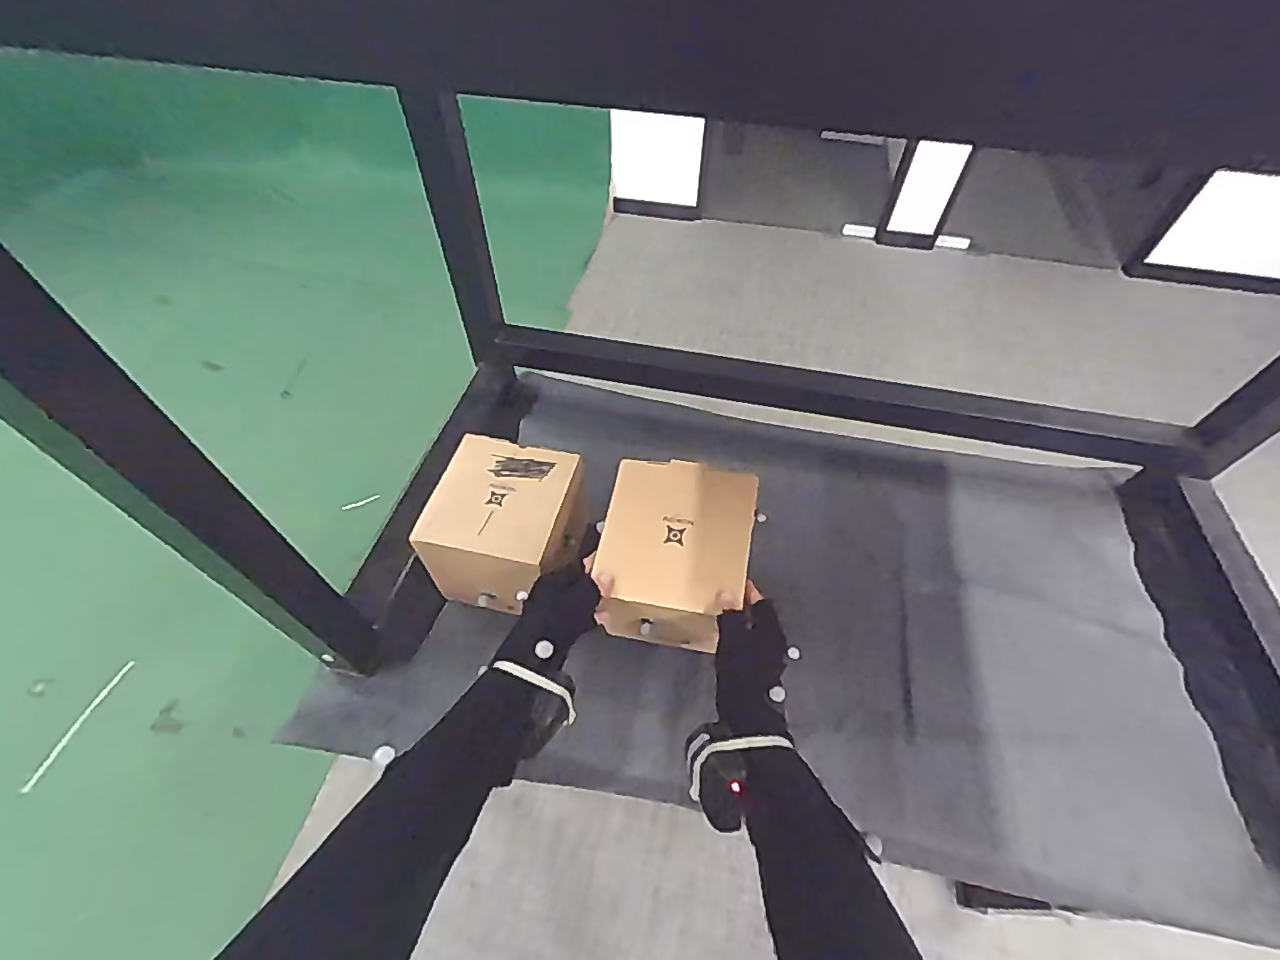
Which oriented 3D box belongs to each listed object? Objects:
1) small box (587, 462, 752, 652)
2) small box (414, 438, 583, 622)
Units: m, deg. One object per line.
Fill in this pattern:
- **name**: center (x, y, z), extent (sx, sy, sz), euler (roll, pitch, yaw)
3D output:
- **small box**: center (0.045, 0.102, 0.678), extent (0.168, 0.176, 0.179), euler (7, 59, 10)
- **small box**: center (-0.180, 0.072, 0.756), extent (0.168, 0.176, 0.179), euler (11, 53, 7)
